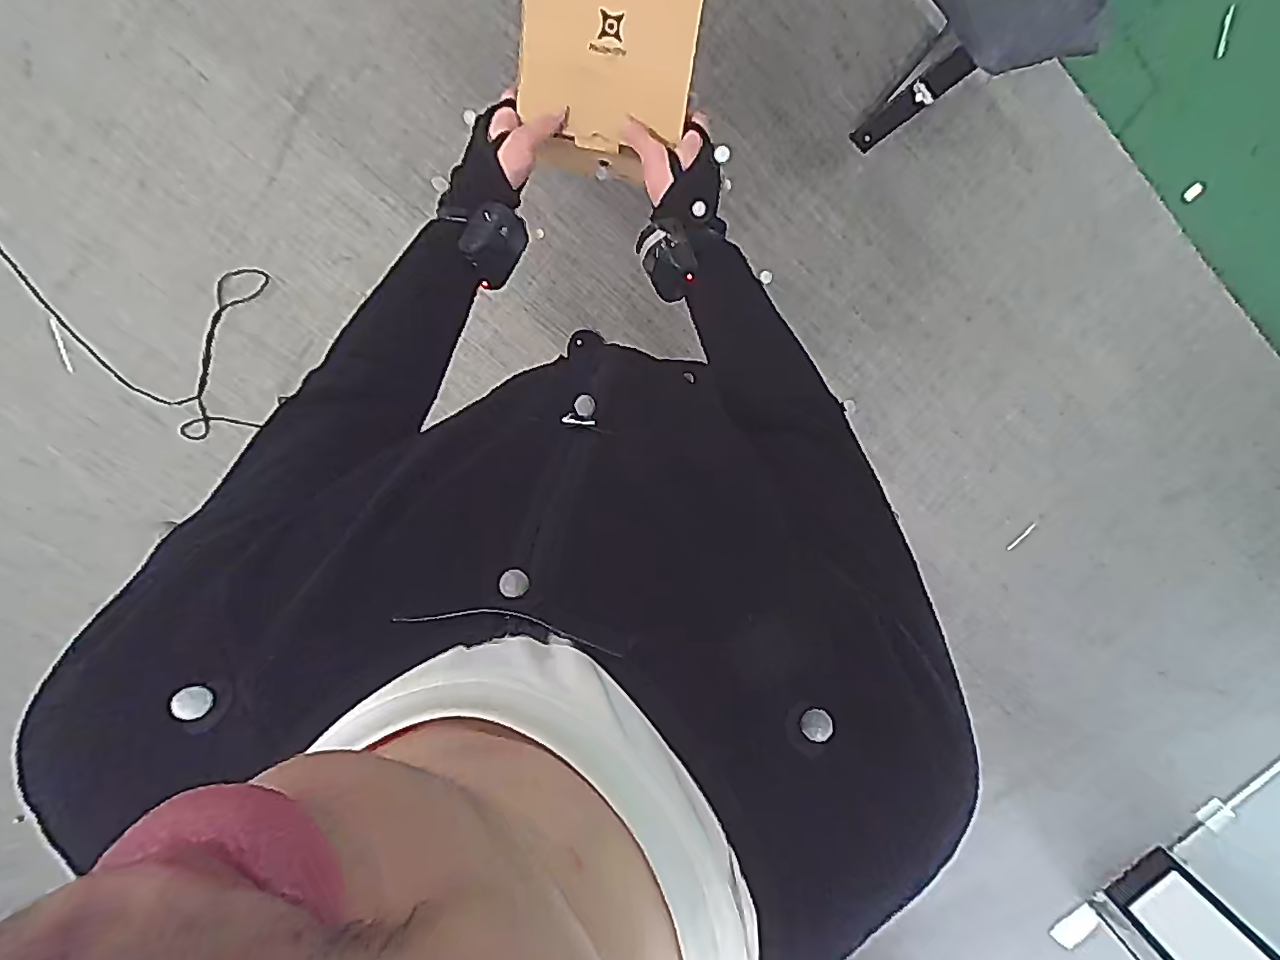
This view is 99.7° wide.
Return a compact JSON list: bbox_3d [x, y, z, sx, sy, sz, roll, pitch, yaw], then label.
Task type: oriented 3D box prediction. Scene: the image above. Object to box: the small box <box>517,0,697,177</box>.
[{"bbox_3d":[-0.030,-0.445,0.585,0.168,0.176,0.179,6,109,-1],"label":"small box"}]
